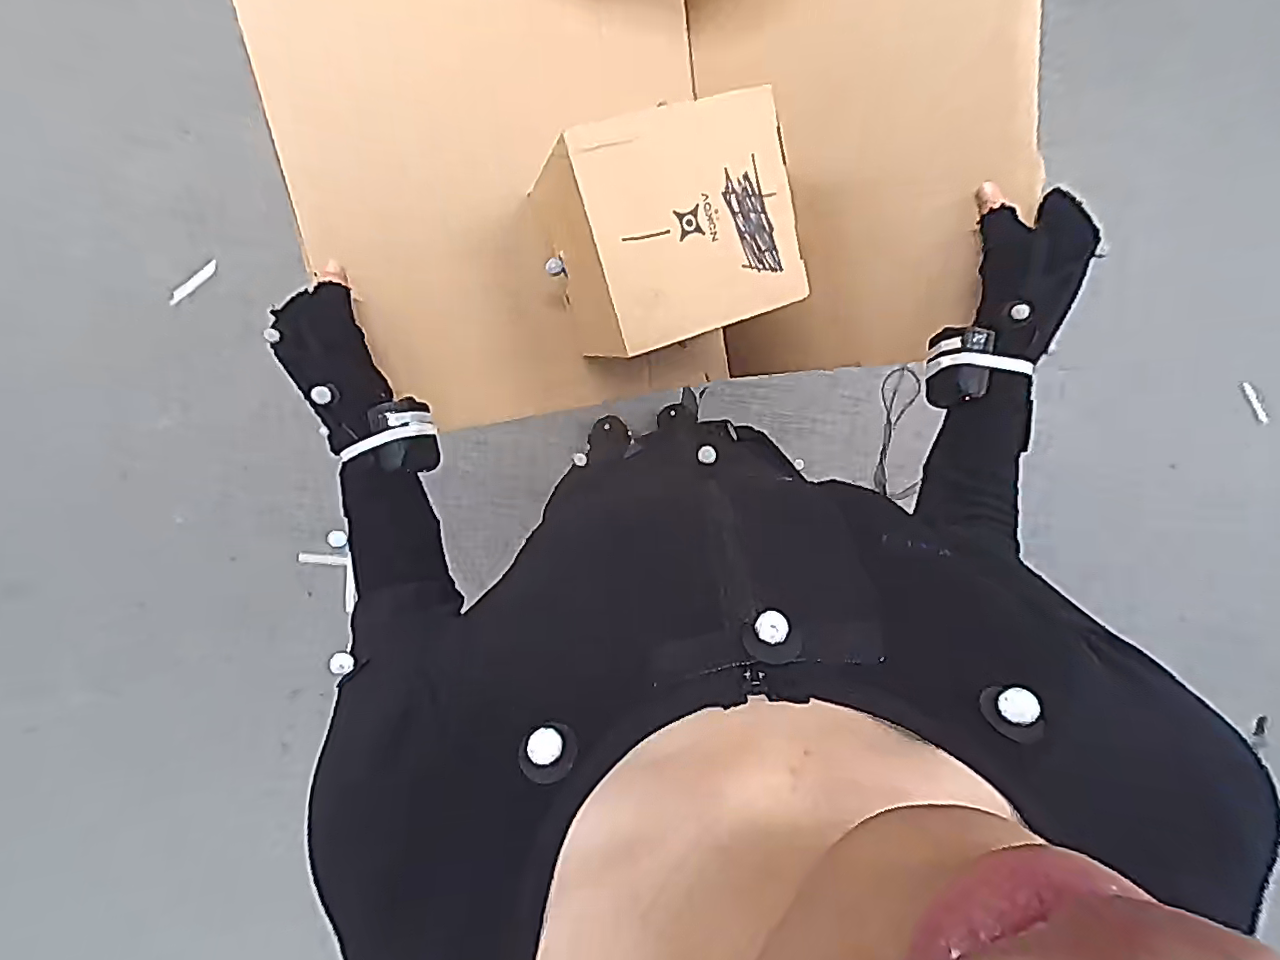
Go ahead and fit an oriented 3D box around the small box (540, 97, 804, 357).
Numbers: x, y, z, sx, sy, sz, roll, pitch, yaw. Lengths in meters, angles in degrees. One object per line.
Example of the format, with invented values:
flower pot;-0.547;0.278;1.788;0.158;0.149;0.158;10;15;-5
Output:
small box;0.021;-0.221;0.508;0.179;0.176;0.168;-21;108;-13
